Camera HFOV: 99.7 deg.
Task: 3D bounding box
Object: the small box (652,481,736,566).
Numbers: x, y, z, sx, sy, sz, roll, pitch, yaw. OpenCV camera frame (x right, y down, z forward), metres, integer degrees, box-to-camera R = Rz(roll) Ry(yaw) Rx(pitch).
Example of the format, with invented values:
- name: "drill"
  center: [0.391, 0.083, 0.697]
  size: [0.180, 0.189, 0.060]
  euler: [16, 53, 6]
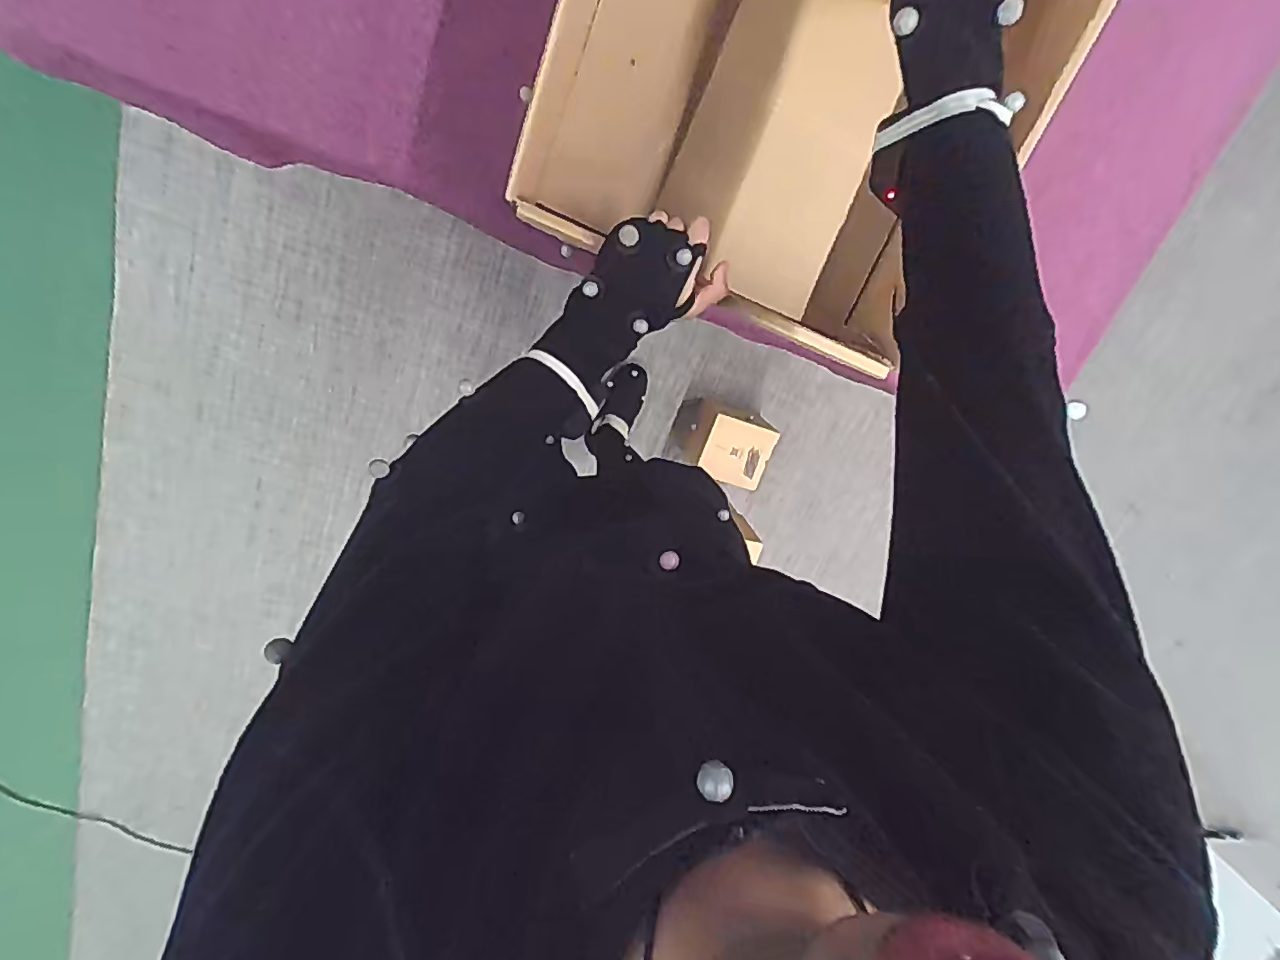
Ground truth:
- name: "small box"
  center: [0.141, 0.116, 1.506]
  size: [0.179, 0.176, 0.168]
  euler: [13, 109, -13]
